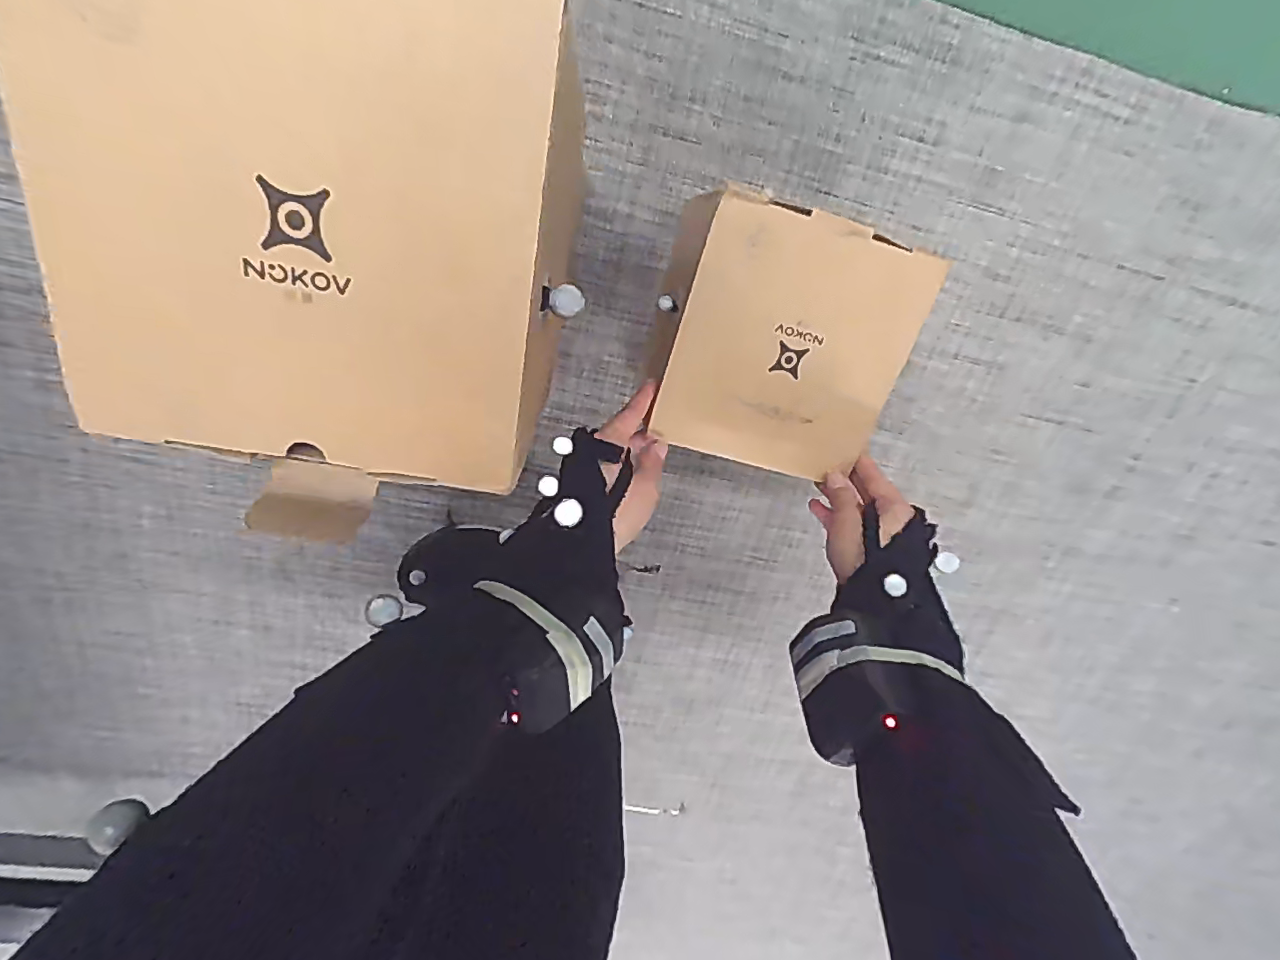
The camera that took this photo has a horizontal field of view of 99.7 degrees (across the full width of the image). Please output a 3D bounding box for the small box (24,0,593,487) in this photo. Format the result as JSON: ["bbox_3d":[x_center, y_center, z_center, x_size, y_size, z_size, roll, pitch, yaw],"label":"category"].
[{"bbox_3d":[-0.118,-0.118,0.264,0.168,0.176,0.179,8,113,-8],"label":"small box"}]

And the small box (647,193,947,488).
[{"bbox_3d":[0.106,-0.121,0.459,0.168,0.176,0.179,13,113,-8],"label":"small box"}]
